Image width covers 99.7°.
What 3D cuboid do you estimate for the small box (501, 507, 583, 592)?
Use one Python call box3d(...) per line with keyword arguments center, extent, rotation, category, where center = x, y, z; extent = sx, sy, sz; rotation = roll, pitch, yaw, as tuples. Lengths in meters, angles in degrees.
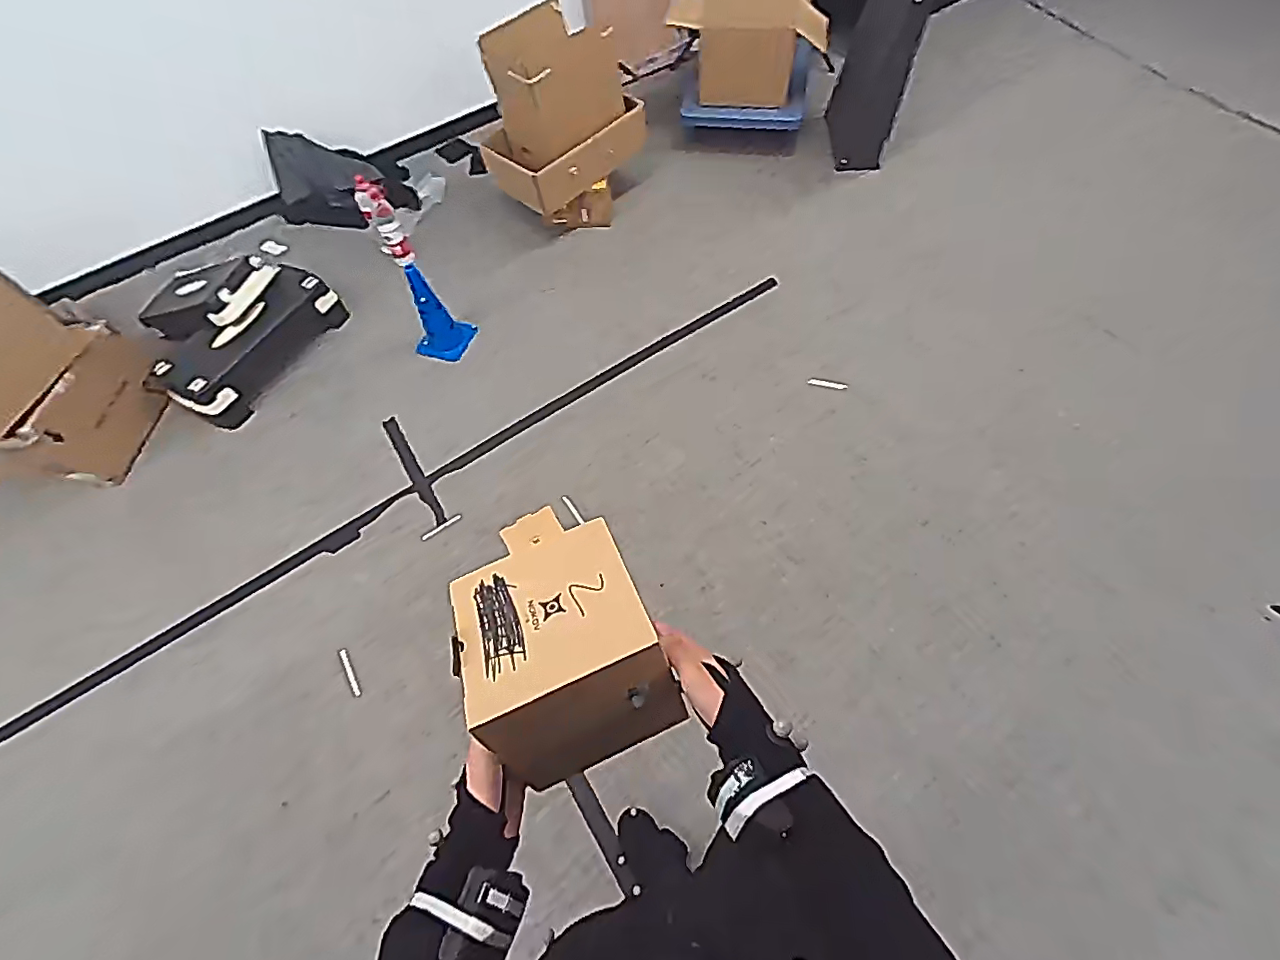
box3d(center=(-0.289, 0.217, 1.627), extent=(0.168, 0.176, 0.179), rotation=(-29, 62, -11), category="small box")
